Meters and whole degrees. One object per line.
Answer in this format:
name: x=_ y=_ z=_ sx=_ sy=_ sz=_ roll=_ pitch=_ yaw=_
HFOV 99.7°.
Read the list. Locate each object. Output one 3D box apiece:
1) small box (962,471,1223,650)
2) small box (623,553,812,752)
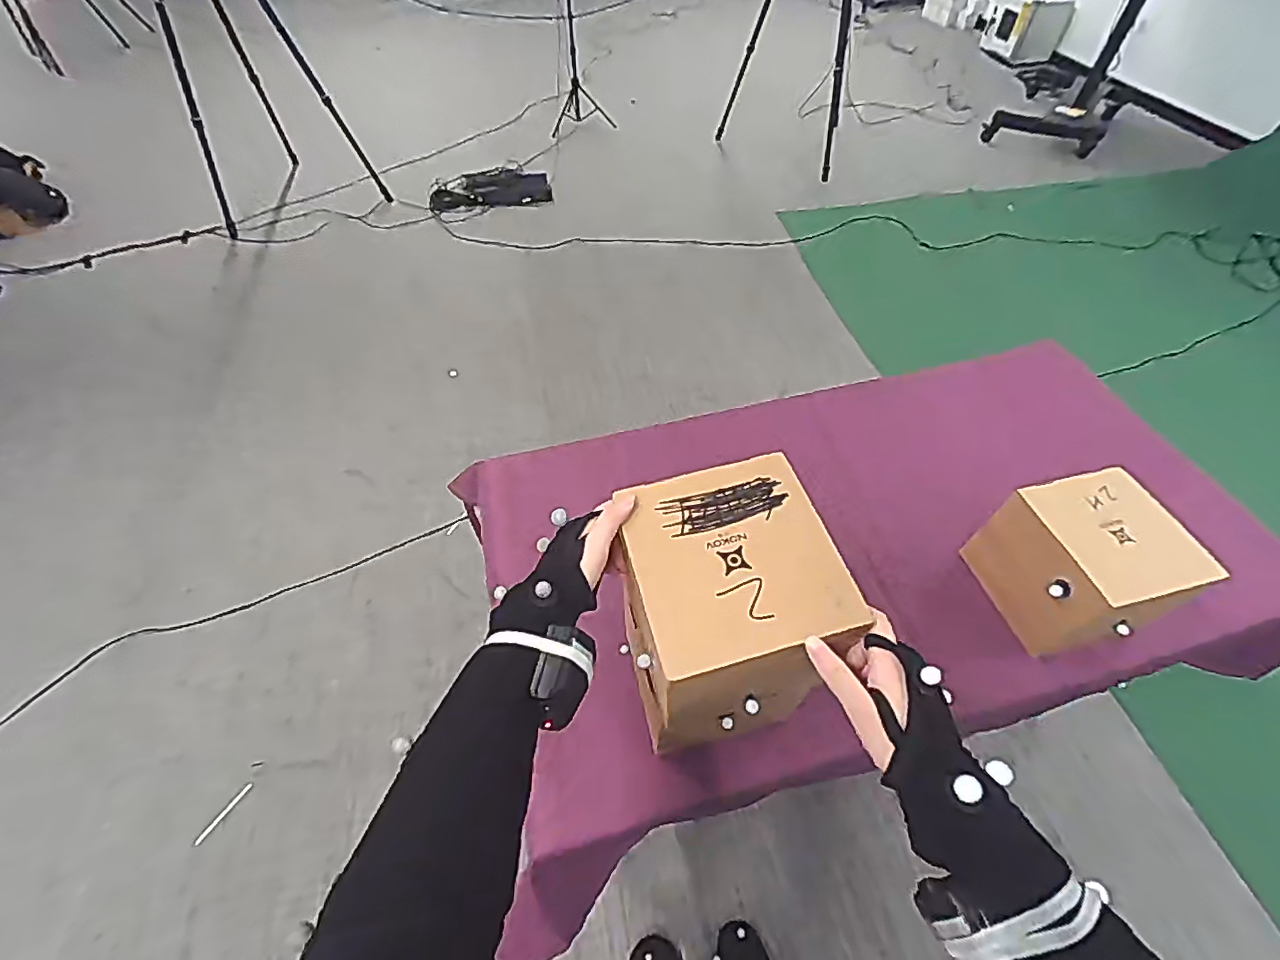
small box: x=0.592 y=0.117 z=0.739 sx=0.168 sy=0.176 sz=0.179 roll=-11 pitch=53 yaw=-8
small box: x=0.083 y=0.217 z=0.669 sx=0.179 sy=0.176 sz=0.168 roll=-11 pitch=53 yaw=-9
